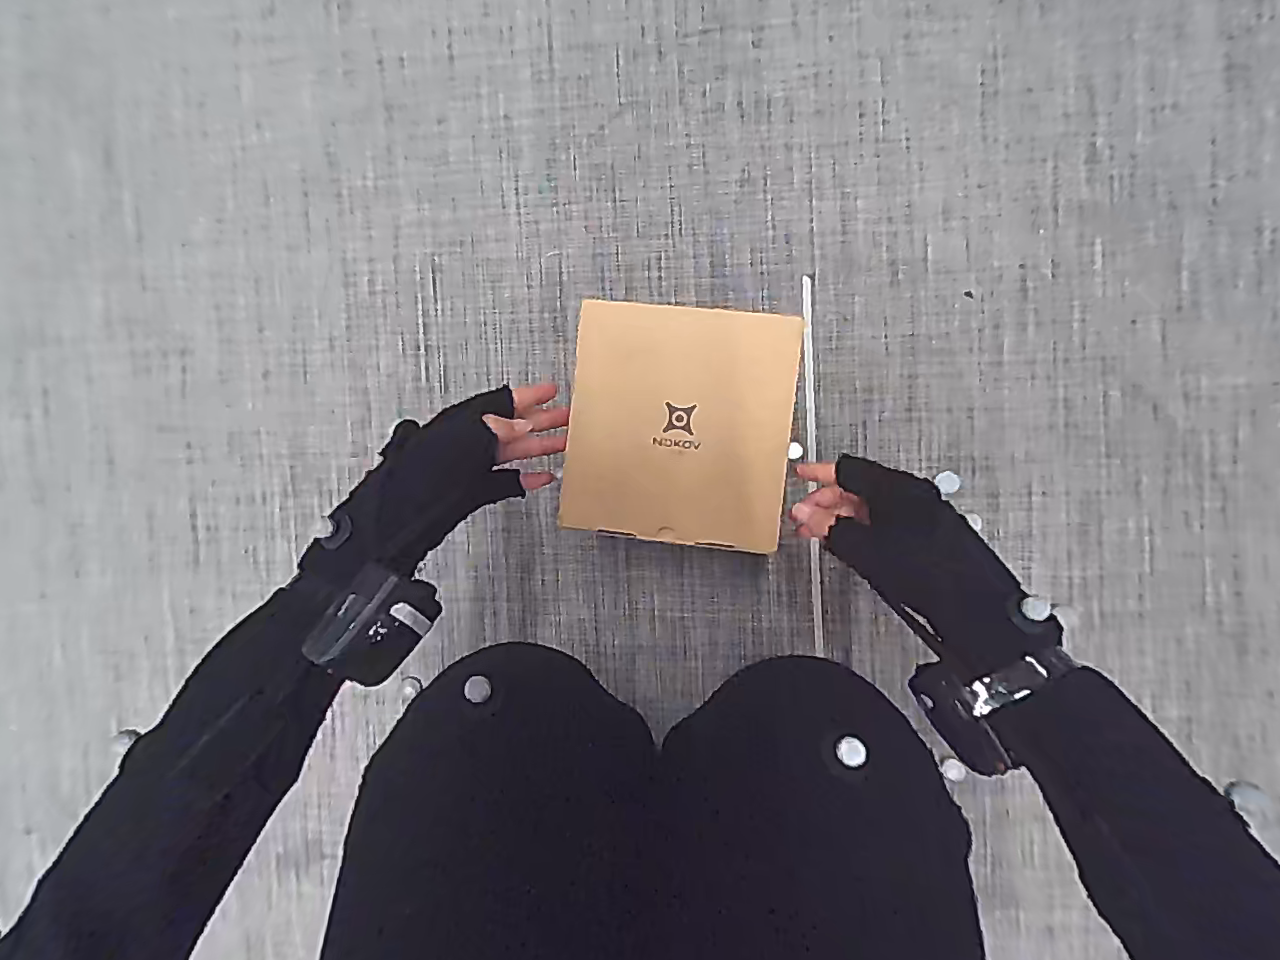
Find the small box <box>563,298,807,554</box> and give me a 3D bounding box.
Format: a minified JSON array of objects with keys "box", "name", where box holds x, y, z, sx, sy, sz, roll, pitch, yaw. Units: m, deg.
[{"box":[0.037,-0.043,0.478,0.168,0.176,0.179,6,92,5],"name":"small box"}]
